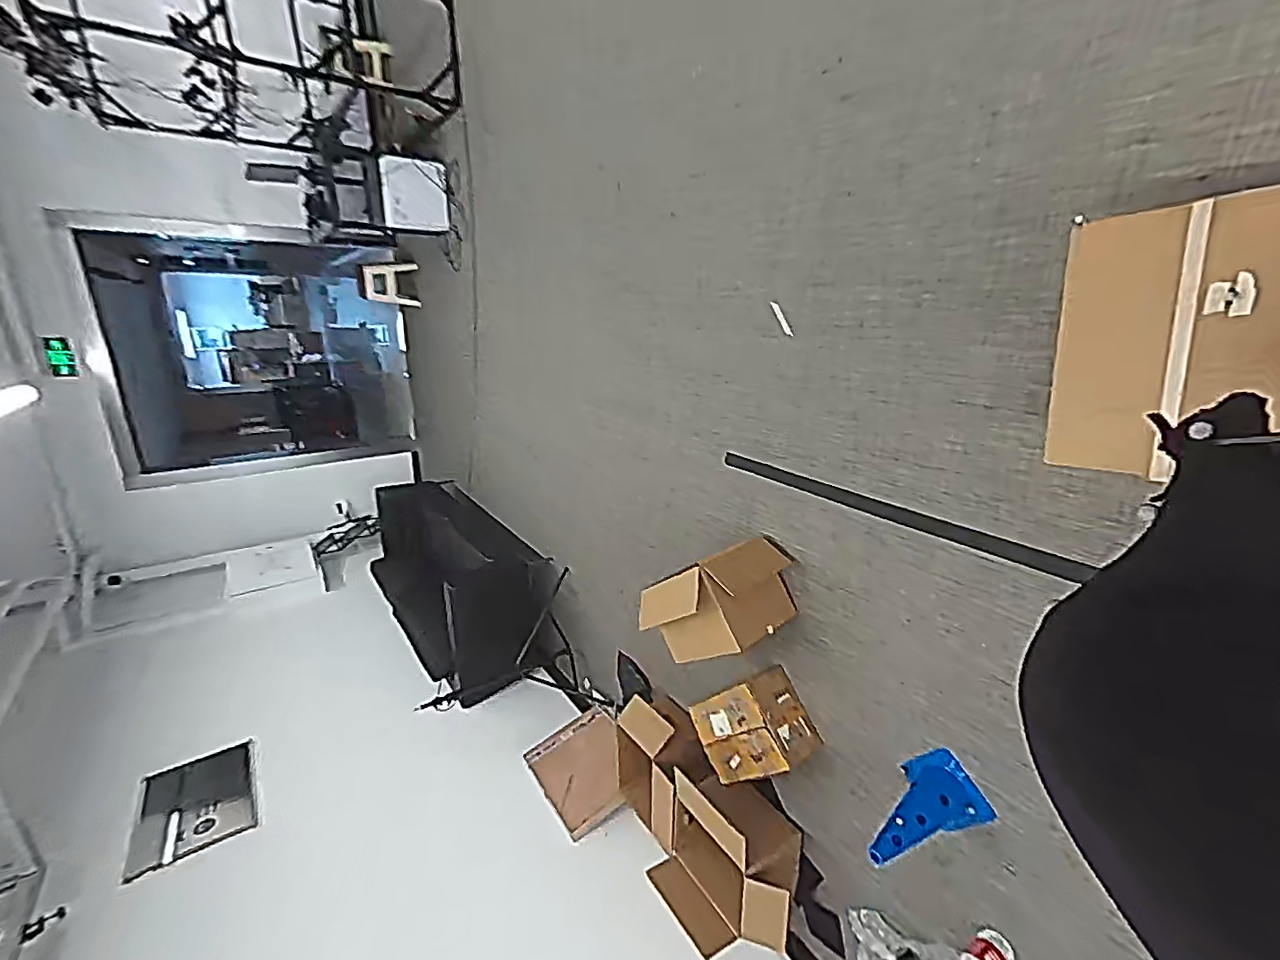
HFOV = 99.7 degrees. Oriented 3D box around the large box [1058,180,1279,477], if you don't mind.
[{"bbox_3d":[0.949,-0.233,0.882,0.320,0.320,0.408,16,111,54],"label":"large box"}]
